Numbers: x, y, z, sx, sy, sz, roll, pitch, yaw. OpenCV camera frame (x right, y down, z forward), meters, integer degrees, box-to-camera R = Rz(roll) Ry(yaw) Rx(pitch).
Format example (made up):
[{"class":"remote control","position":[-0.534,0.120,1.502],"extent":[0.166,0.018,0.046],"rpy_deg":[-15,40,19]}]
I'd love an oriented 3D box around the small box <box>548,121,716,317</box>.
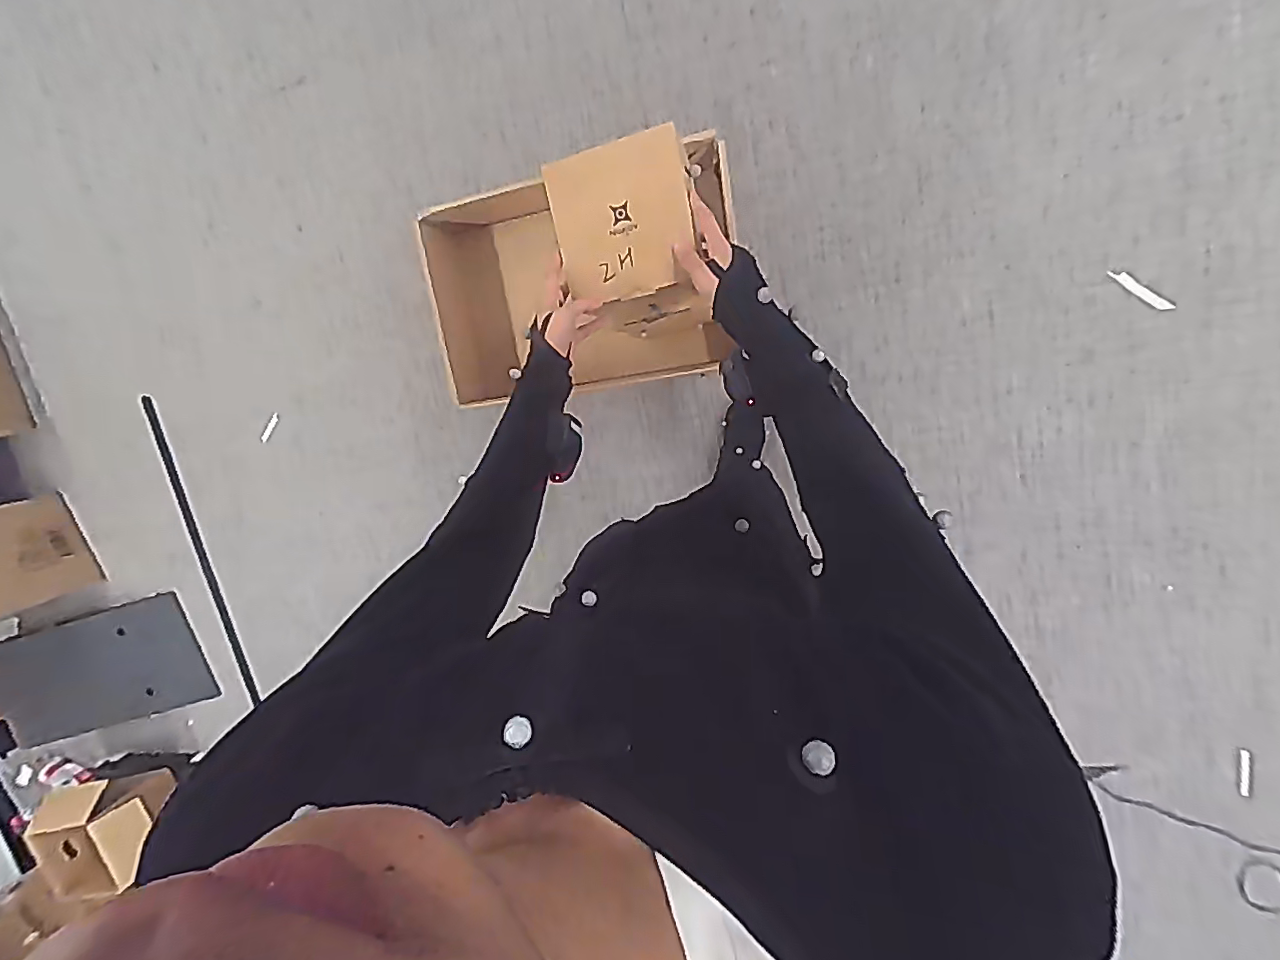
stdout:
[{"class":"small box","position":[0.001,-0.324,0.713],"extent":[0.168,0.176,0.179],"rpy_deg":[-10,102,15]}]

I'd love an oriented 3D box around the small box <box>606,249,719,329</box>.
[{"class":"small box","position":[0.030,-0.349,0.873],"extent":[0.168,0.176,0.179],"rpy_deg":[-10,101,14]}]
